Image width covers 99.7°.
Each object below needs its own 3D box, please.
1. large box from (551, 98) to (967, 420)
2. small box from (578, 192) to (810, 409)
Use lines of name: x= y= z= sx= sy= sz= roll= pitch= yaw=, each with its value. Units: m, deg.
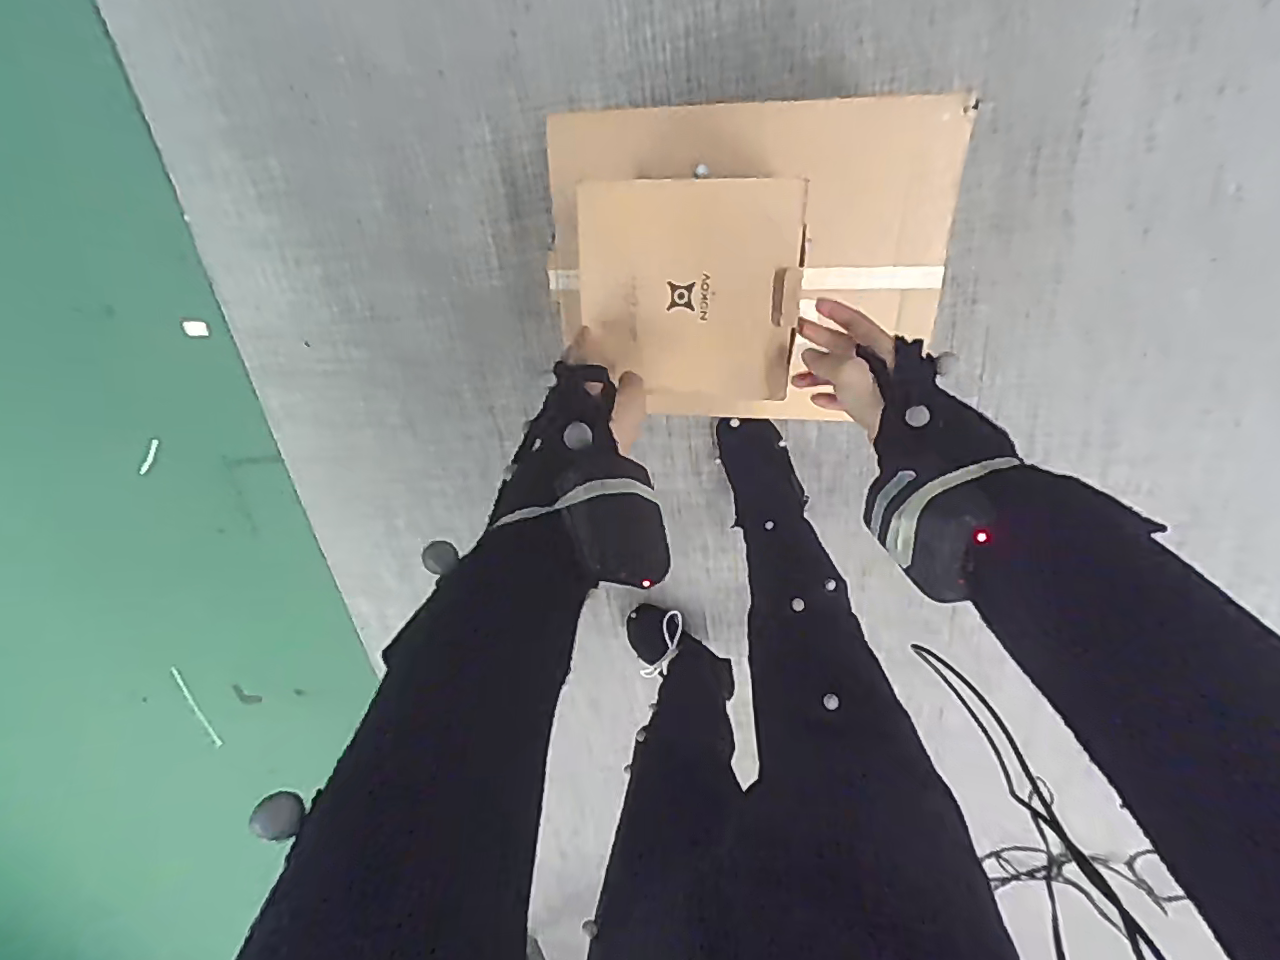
large box: x=0.128 y=-0.273 z=0.715 sx=0.408 sy=0.320 sz=0.320 roll=2 pitch=115 yaw=8
small box: x=0.050 y=-0.171 z=0.505 sx=0.179 sy=0.176 sz=0.168 roll=4 pitch=113 yaw=9
